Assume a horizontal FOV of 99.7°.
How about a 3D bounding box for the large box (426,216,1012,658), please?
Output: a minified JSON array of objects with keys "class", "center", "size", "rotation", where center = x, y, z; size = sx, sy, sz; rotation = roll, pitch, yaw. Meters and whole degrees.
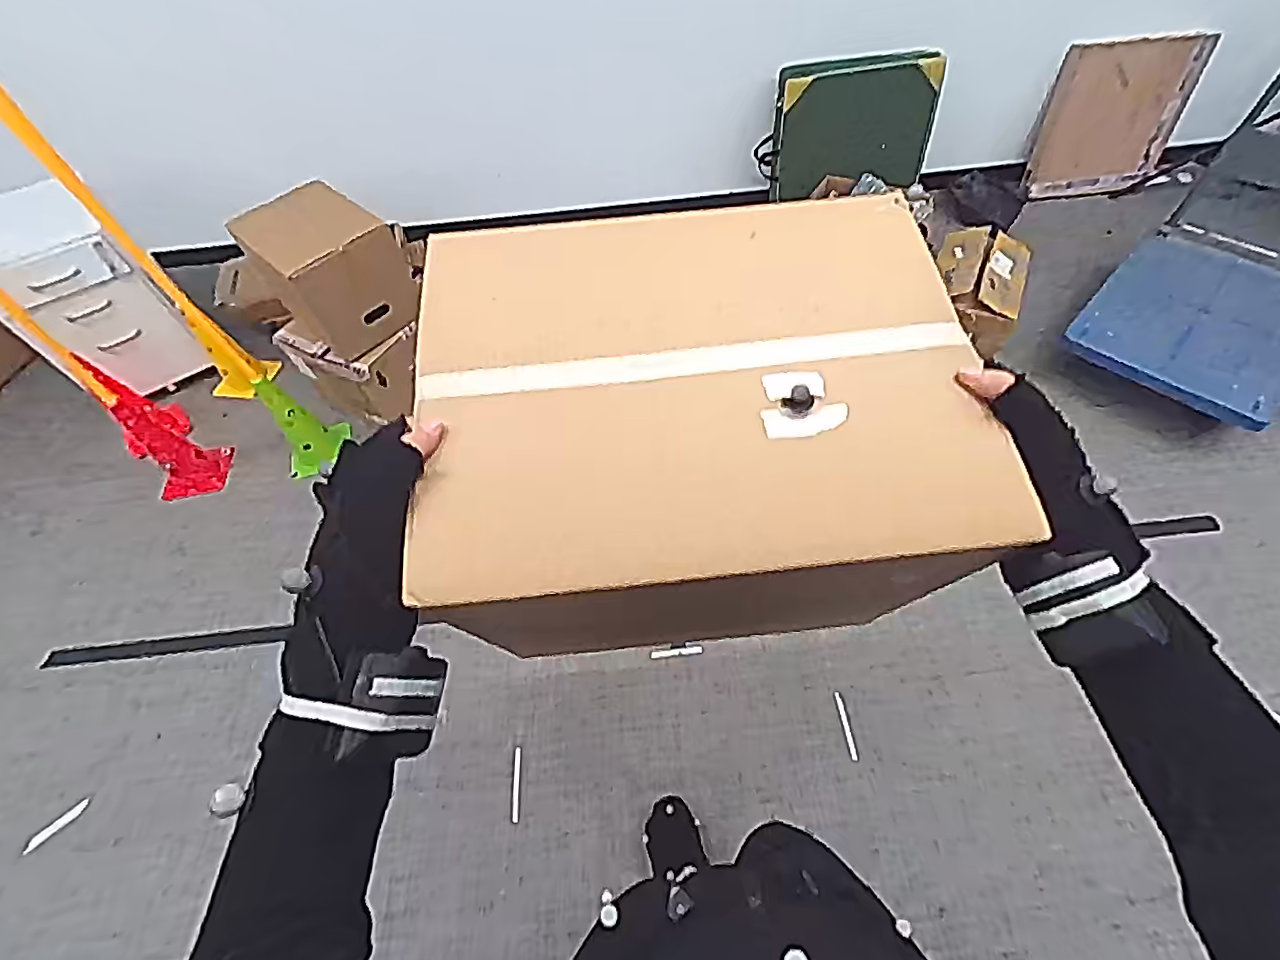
[{"class":"large box","center":[0.041,-0.017,0.554],"size":[0.408,0.320,0.320],"rotation":[-6,66,-1]}]
